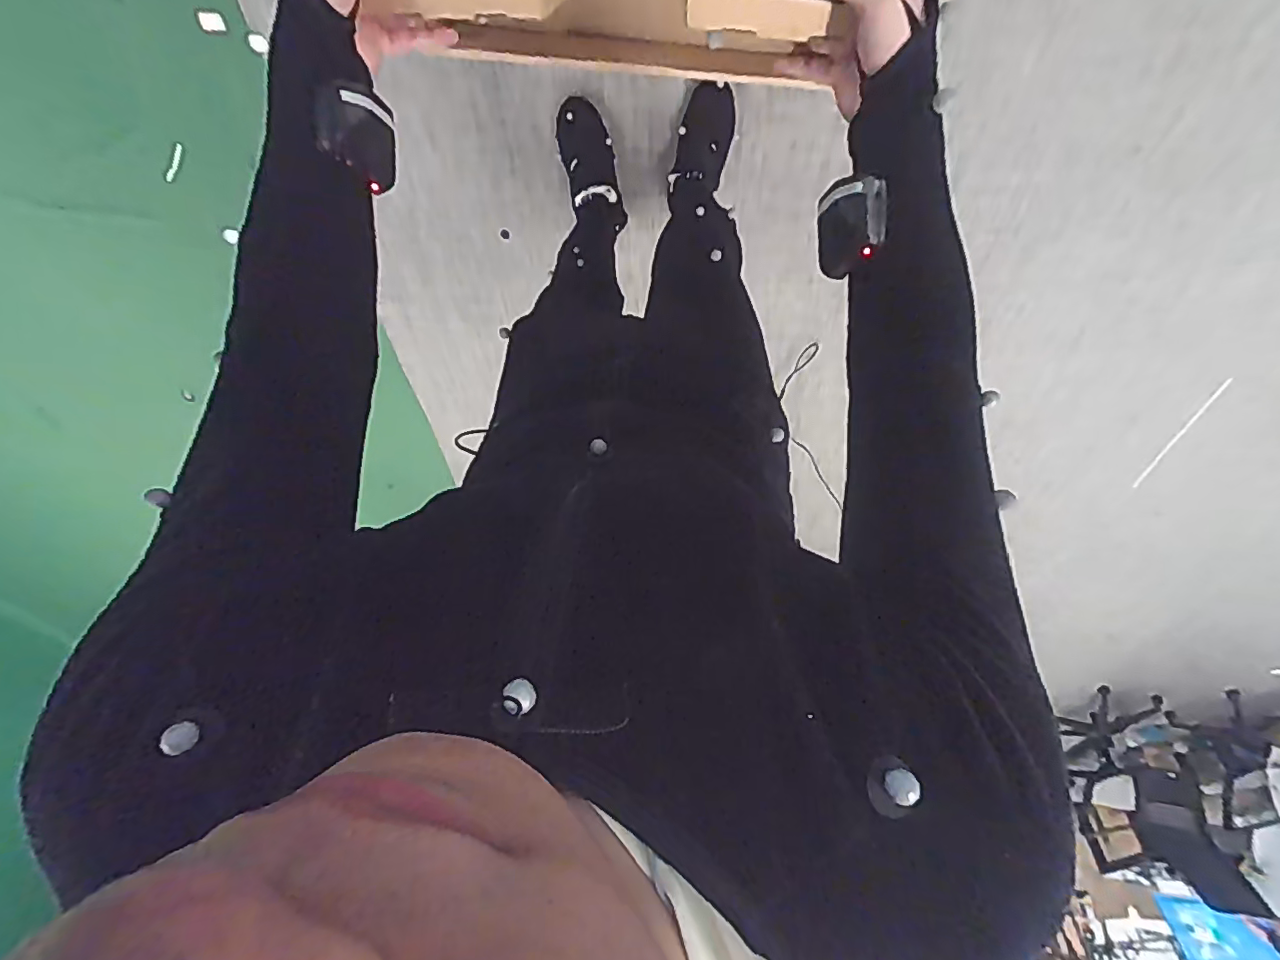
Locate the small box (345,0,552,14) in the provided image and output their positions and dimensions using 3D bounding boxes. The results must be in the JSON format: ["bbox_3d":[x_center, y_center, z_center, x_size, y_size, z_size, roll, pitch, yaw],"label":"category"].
[{"bbox_3d":[-0.156,-0.502,0.432,0.168,0.176,0.179,3,138,1],"label":"small box"}]

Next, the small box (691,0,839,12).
[{"bbox_3d":[0.130,-0.600,0.541,0.168,0.176,0.179,4,136,-1],"label":"small box"}]
